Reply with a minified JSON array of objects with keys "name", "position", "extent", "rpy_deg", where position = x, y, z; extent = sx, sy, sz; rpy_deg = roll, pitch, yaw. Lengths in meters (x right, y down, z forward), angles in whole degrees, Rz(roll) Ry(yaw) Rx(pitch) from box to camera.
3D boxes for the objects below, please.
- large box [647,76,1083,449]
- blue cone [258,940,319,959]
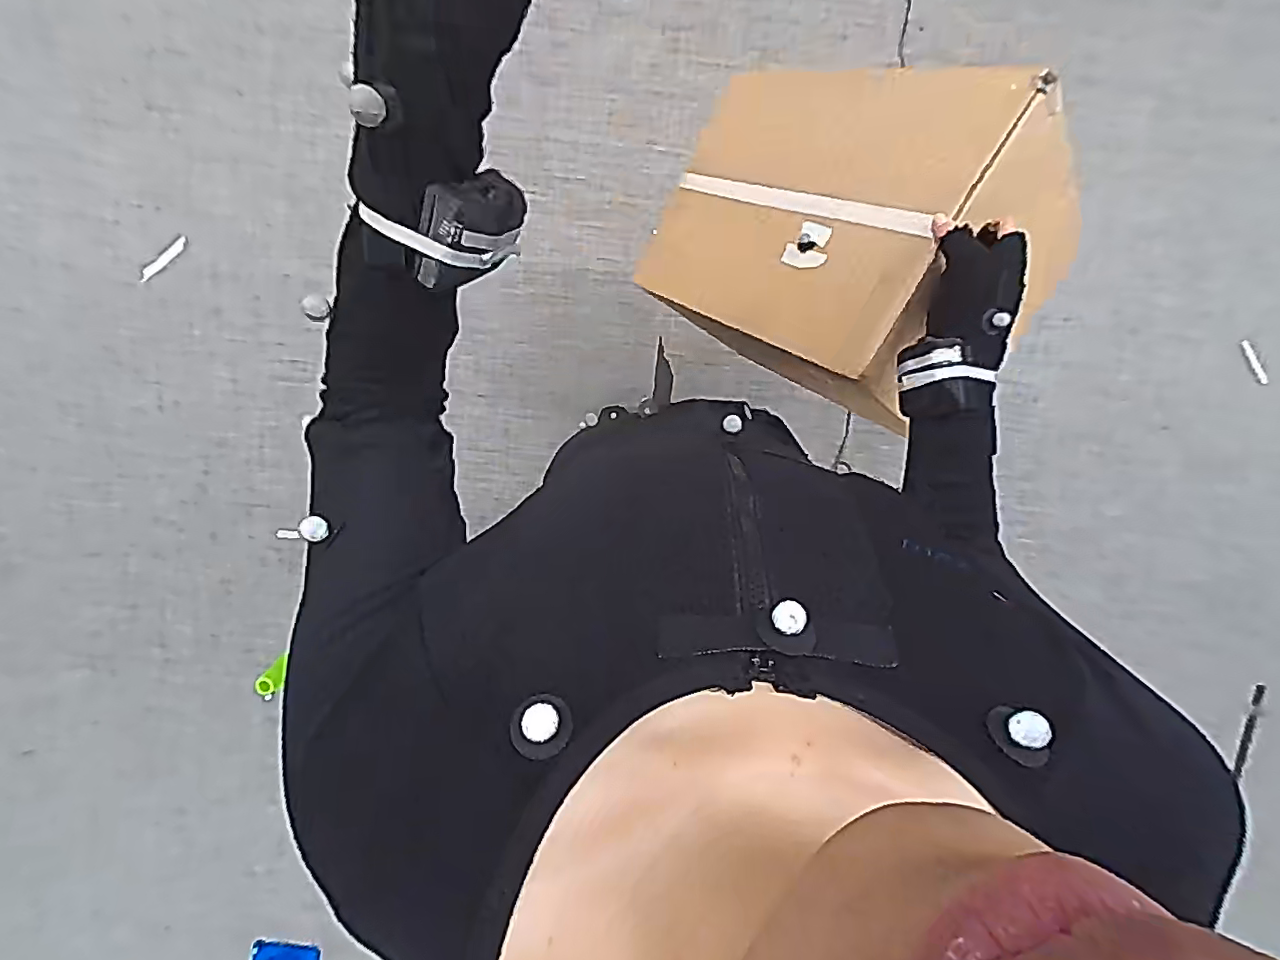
[{"name":"large box","position":[0.291,-0.295,0.755],"extent":[0.320,0.408,0.320],"rpy_deg":[18,108,-44]},{"name":"blue cone","position":[-1.070,1.508,1.476],"extent":[0.192,0.380,0.193],"rpy_deg":[9,96,-1]}]
